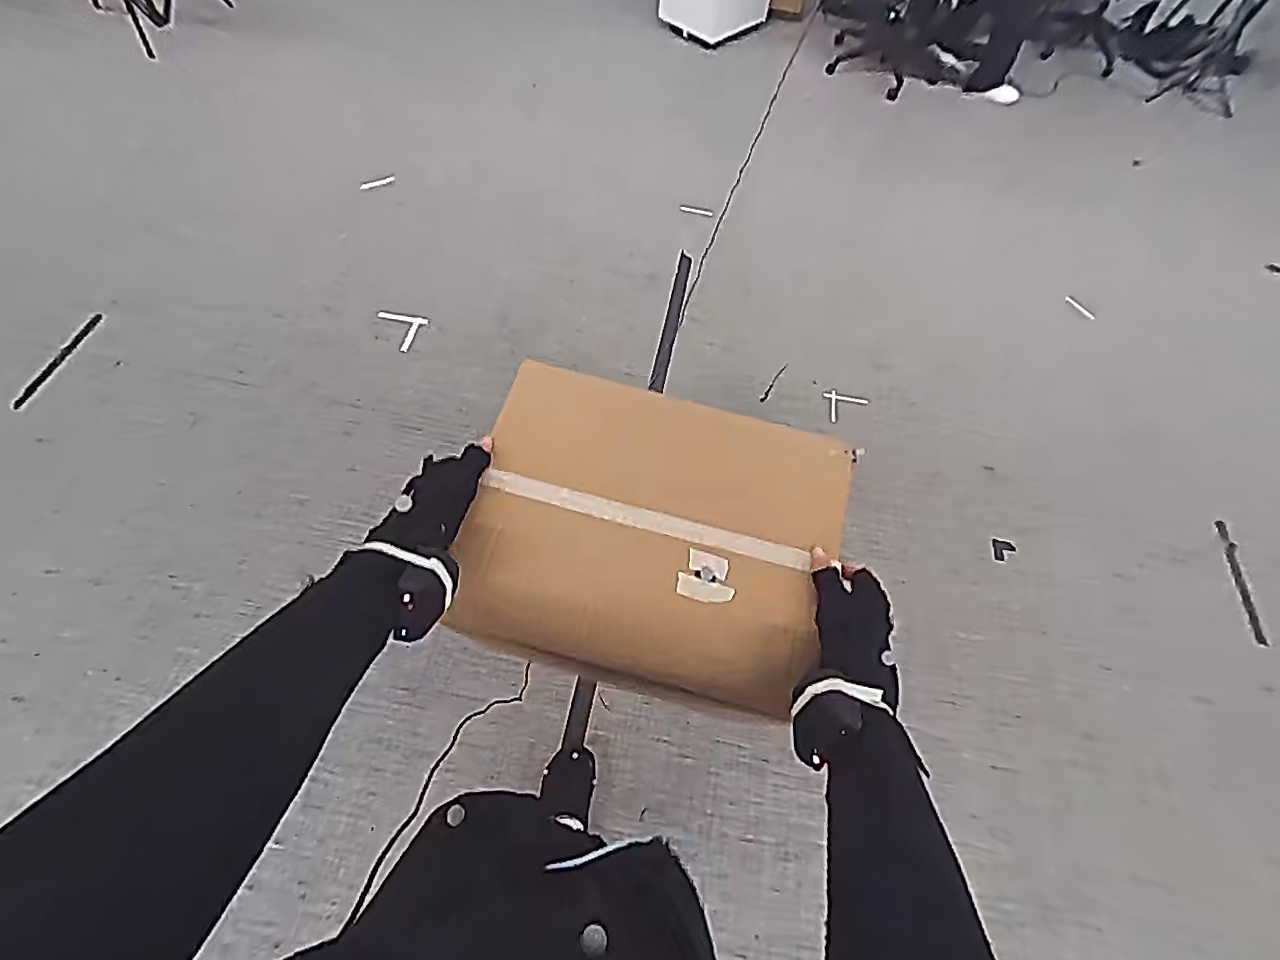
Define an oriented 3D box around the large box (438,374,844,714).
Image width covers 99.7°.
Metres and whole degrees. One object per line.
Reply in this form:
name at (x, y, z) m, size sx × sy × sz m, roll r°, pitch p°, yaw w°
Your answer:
large box at (0.007, 0.107, 0.739) m, size 0.408 × 0.320 × 0.320 m, roll 15°, pitch 68°, yaw 2°
